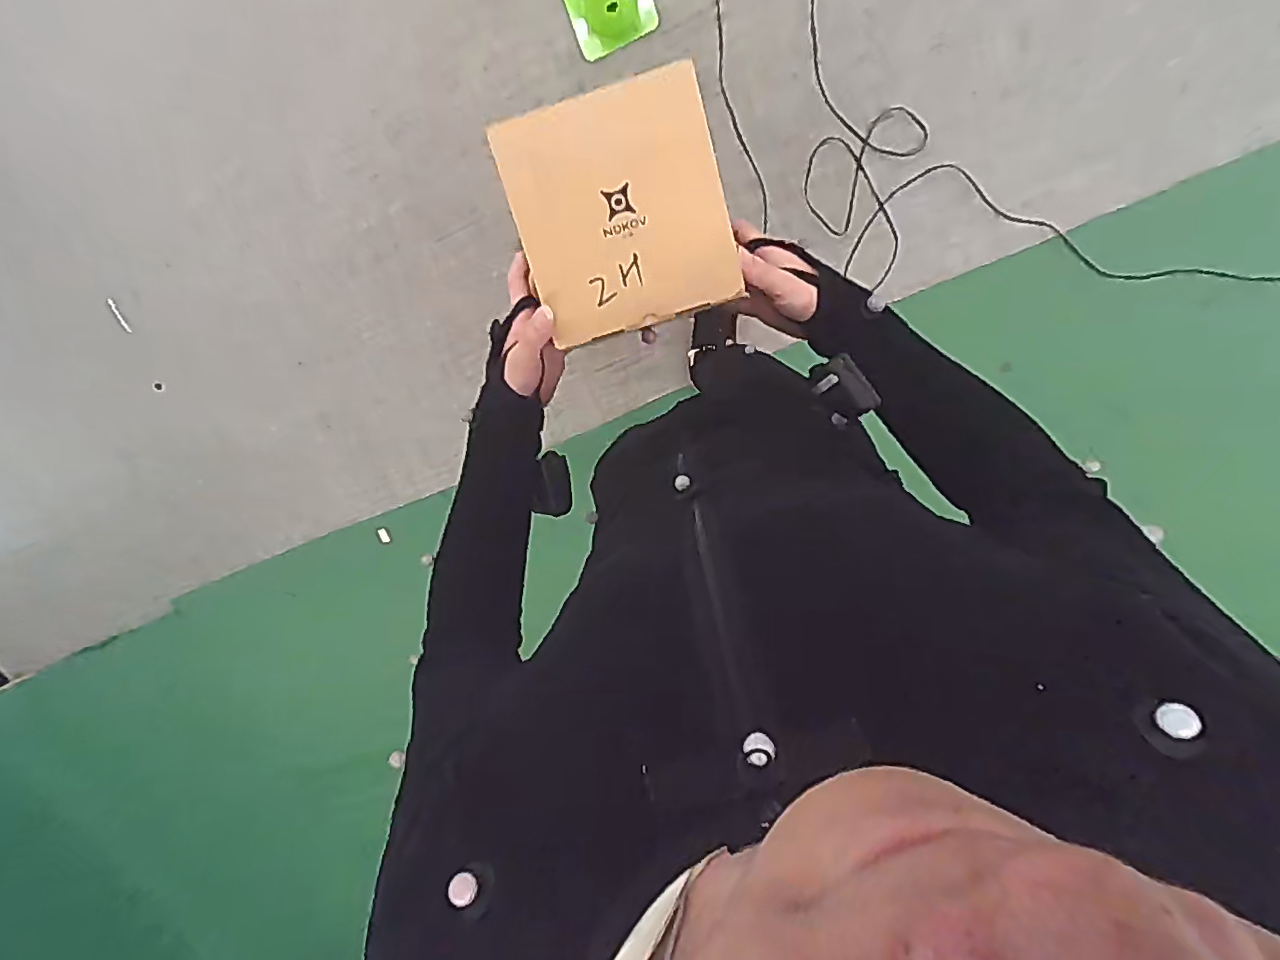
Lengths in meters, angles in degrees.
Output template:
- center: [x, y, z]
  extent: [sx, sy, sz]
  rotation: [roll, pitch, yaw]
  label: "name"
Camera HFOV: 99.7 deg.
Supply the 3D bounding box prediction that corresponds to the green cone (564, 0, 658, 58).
- center: [-0.089, -1.115, 1.147]
  extent: [0.202, 0.368, 0.200]
  rotation: [-20, 105, 10]
  label: "green cone"
